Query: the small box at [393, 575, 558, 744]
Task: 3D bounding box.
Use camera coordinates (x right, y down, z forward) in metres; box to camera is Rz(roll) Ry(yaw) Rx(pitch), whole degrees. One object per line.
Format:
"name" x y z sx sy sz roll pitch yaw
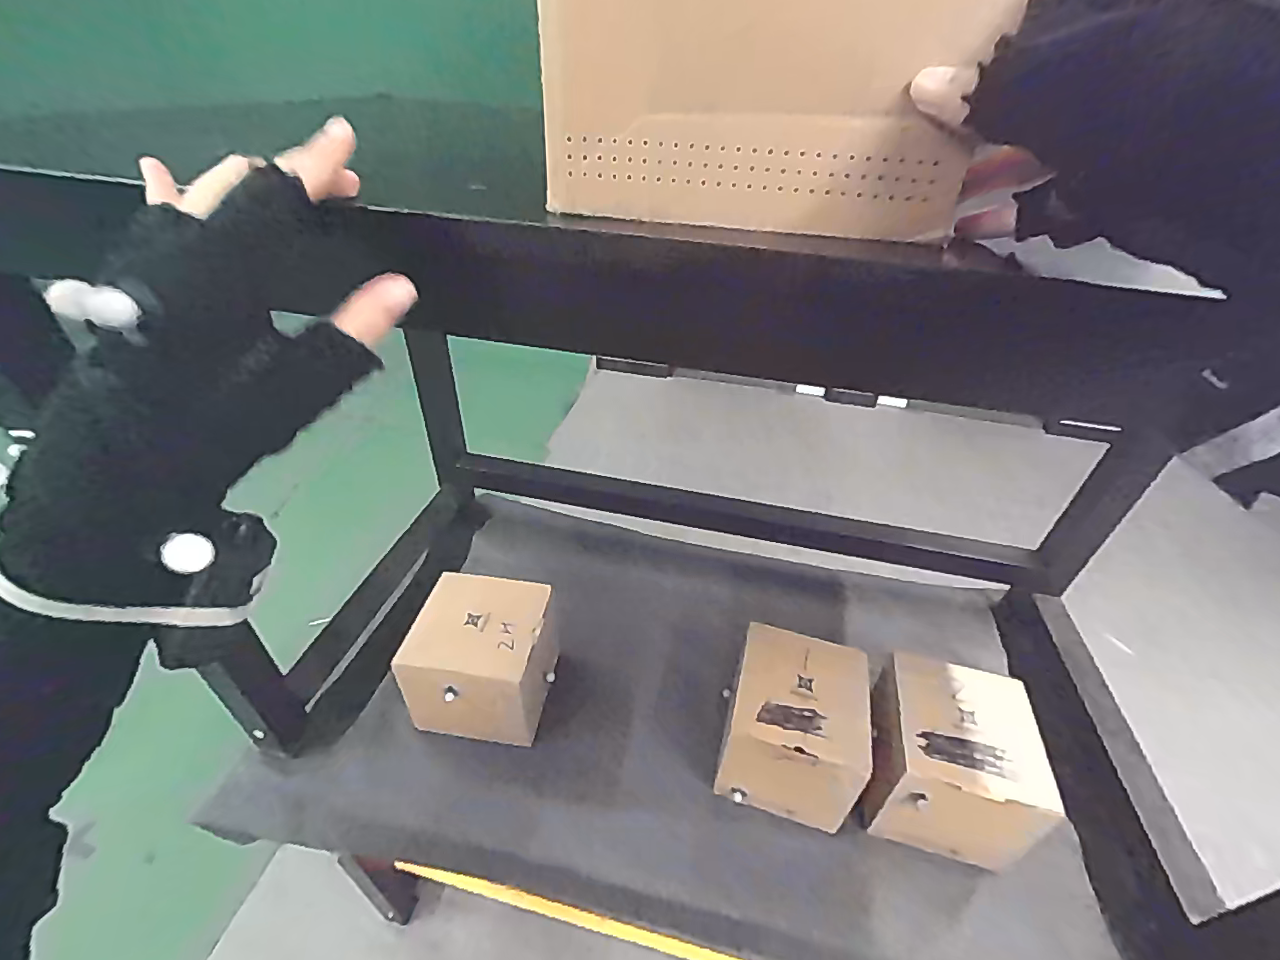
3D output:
"small box" -0.230 0.267 0.806 0.179 0.176 0.168 7 38 5
